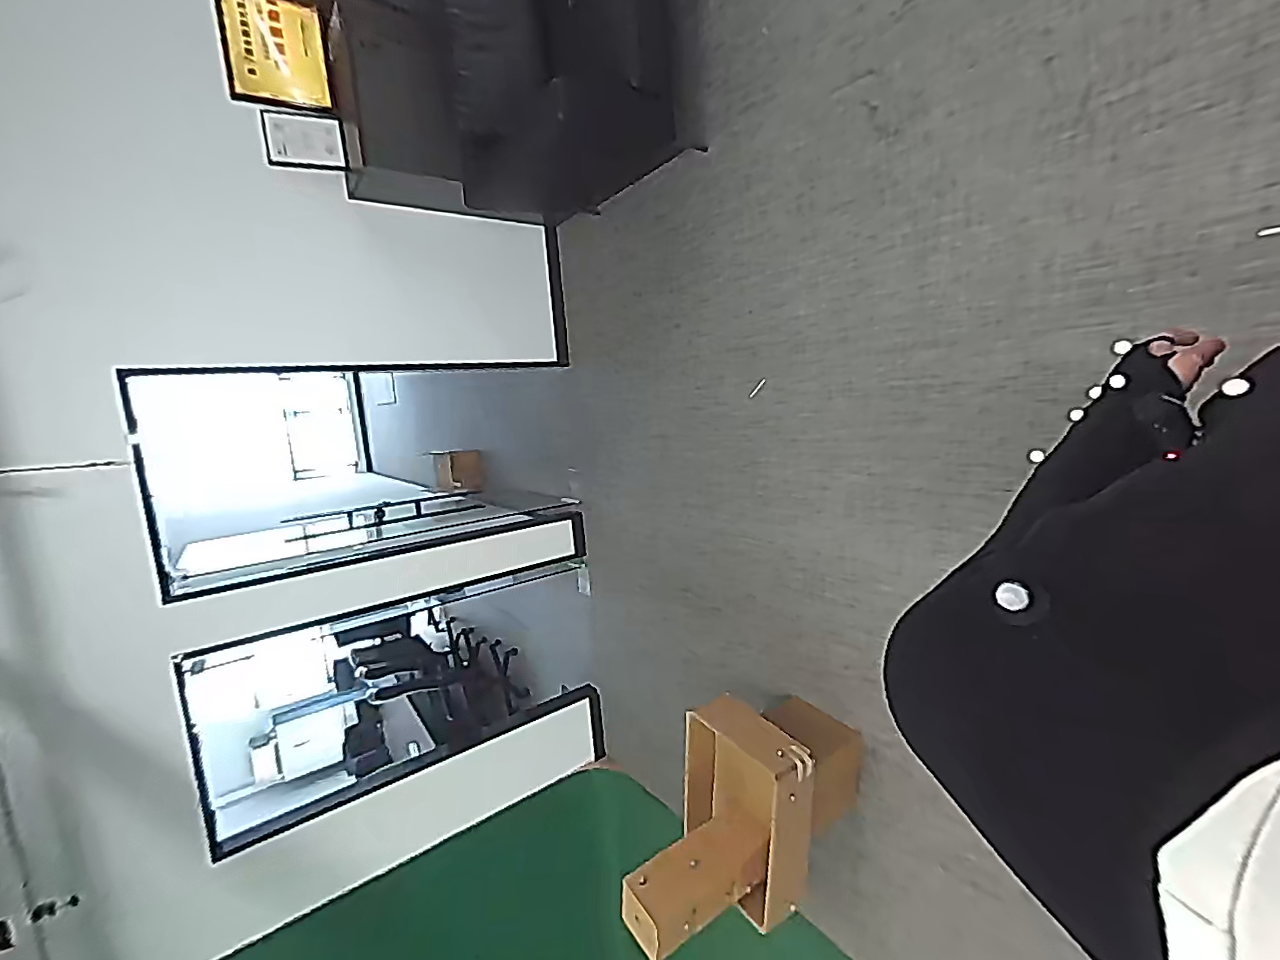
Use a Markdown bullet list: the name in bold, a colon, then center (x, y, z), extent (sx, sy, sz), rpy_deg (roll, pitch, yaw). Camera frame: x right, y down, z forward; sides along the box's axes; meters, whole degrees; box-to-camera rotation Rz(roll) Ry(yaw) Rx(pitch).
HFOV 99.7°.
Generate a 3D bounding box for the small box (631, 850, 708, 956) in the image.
- **small box**: center (0.090, 1.317, 1.703), extent (0.179, 0.176, 0.168), rpy_deg (20, 116, 49)

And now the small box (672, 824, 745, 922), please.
- **small box**: center (0.223, 1.290, 1.797), extent (0.179, 0.176, 0.168), rpy_deg (19, 114, 49)
